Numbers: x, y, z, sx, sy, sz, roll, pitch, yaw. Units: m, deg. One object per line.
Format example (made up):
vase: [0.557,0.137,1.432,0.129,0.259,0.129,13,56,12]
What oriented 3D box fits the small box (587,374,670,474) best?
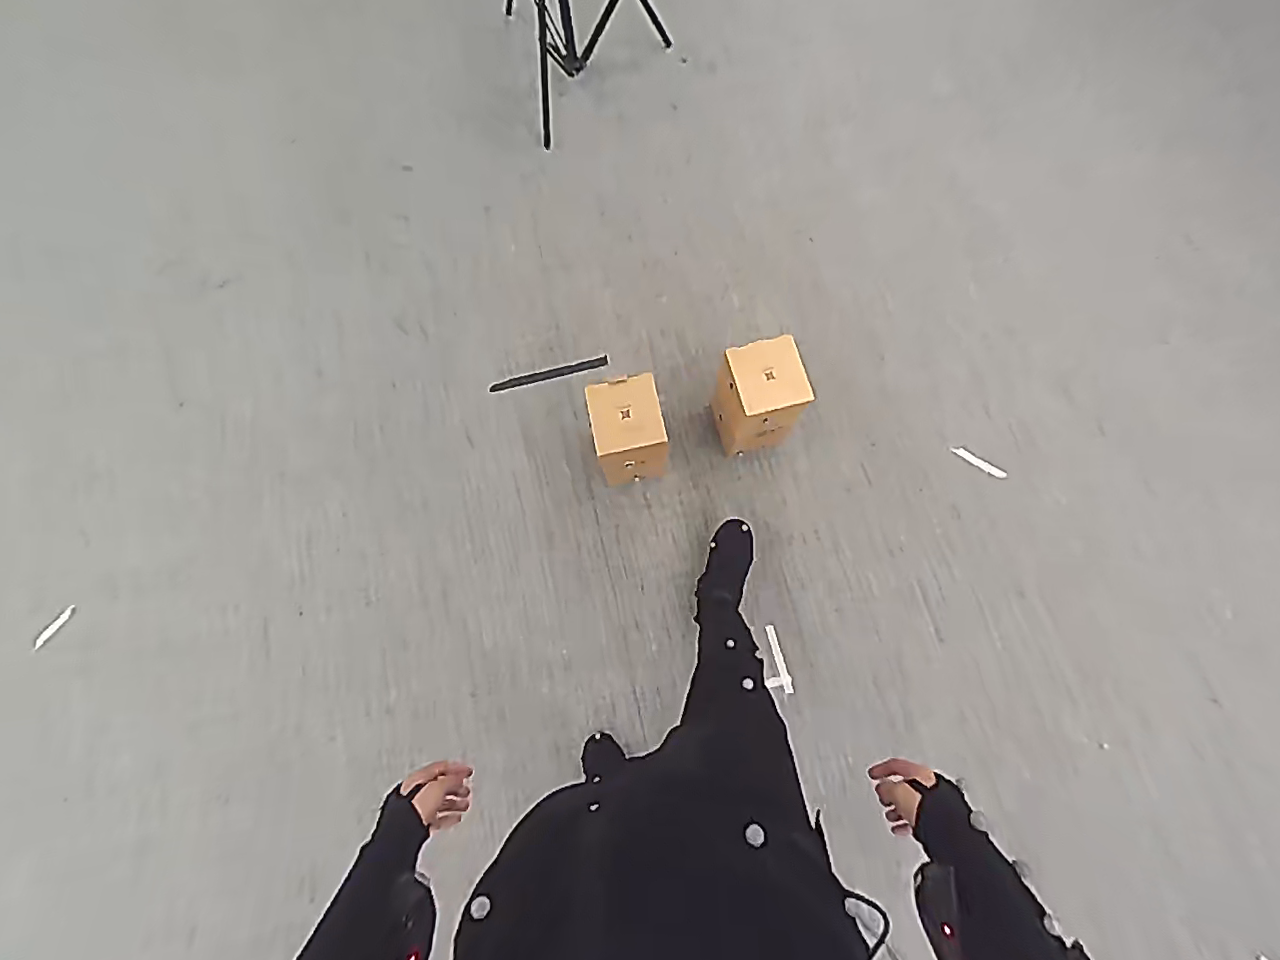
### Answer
small box: [-0.027,-0.129,1.301,0.168,0.176,0.179,-12,76,-1]

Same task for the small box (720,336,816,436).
small box: [0.303,-0.218,1.316,0.168,0.176,0.179,-15,75,-2]

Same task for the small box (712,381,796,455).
small box: [0.304,-0.178,1.474,0.168,0.176,0.179,-15,75,-2]

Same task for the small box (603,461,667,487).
small box: [-0.026,-0.096,1.462,0.168,0.176,0.179,-12,77,-1]
